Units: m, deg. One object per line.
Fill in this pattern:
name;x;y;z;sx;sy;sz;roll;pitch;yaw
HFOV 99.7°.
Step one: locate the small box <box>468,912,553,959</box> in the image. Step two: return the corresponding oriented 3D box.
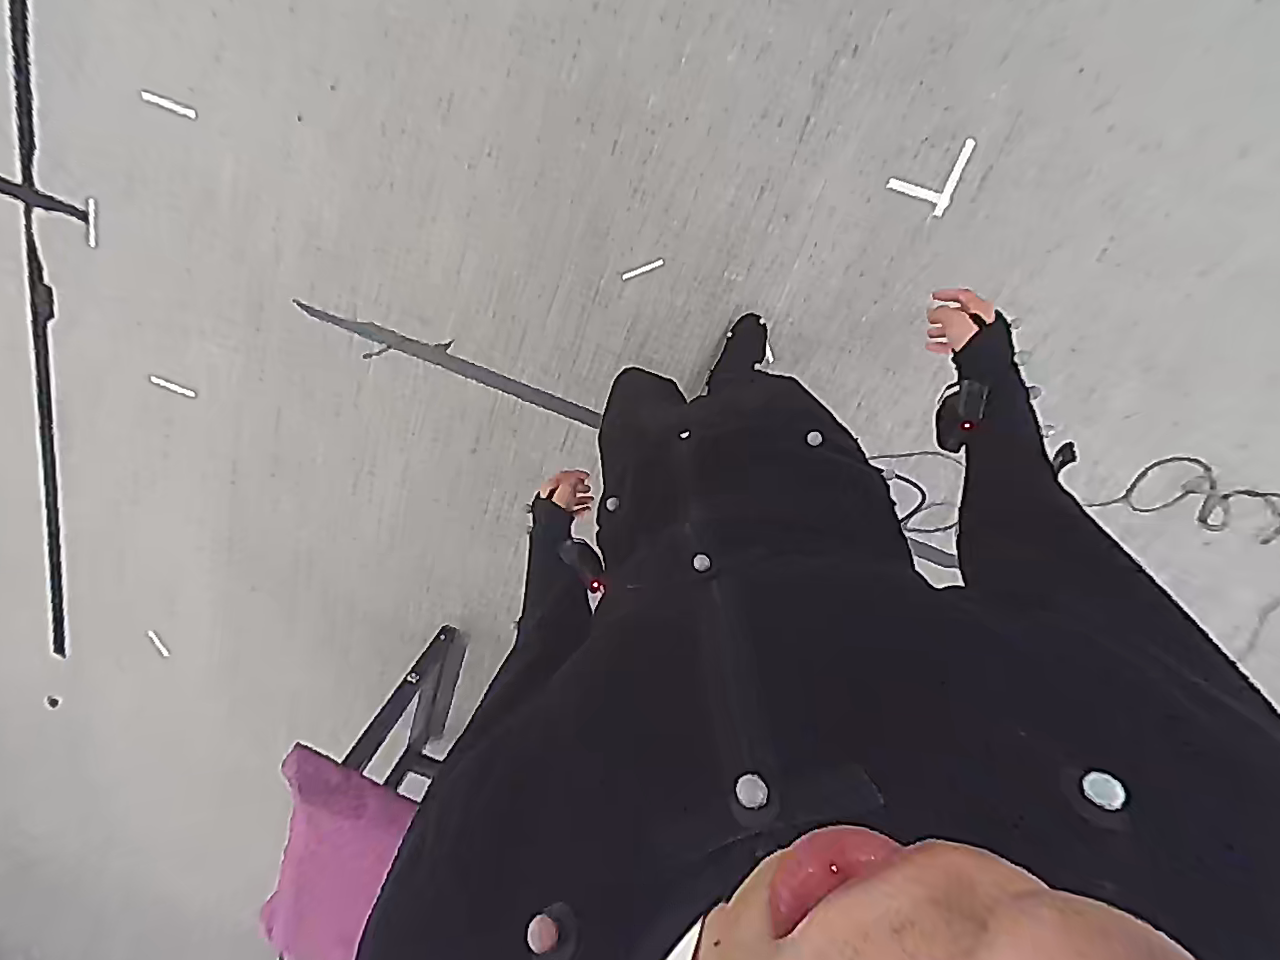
small box;-0.324;1.165;1.268;0.179;0.176;0.168;18;112;1
